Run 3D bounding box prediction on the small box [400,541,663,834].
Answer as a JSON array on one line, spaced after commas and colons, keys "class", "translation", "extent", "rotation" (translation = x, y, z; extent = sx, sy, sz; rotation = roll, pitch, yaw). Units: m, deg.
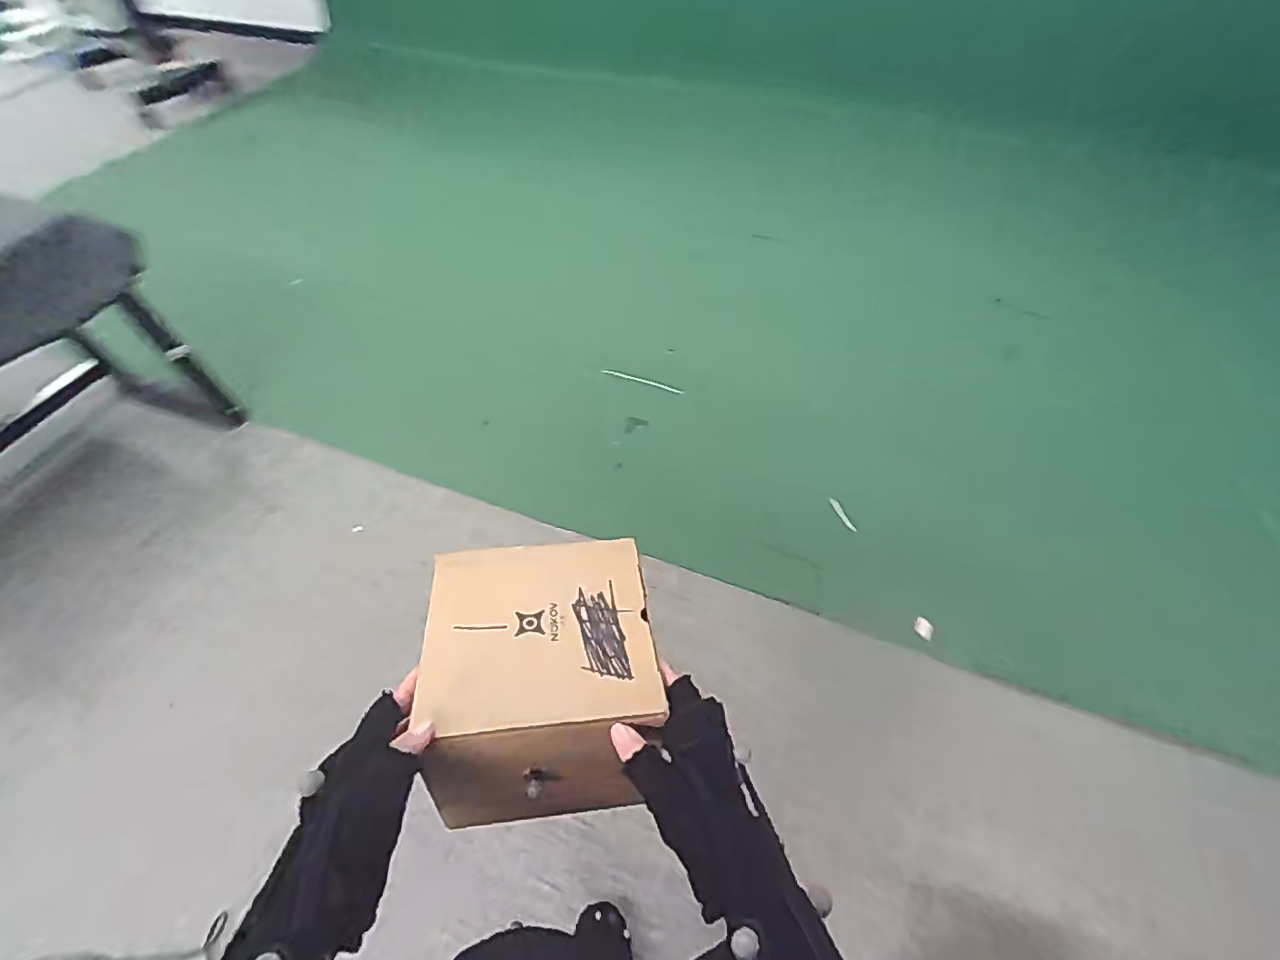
[{"class": "small box", "translation": [-0.092, 0.175, 0.467], "extent": [0.179, 0.176, 0.168], "rotation": [-4, 42, -13]}]
